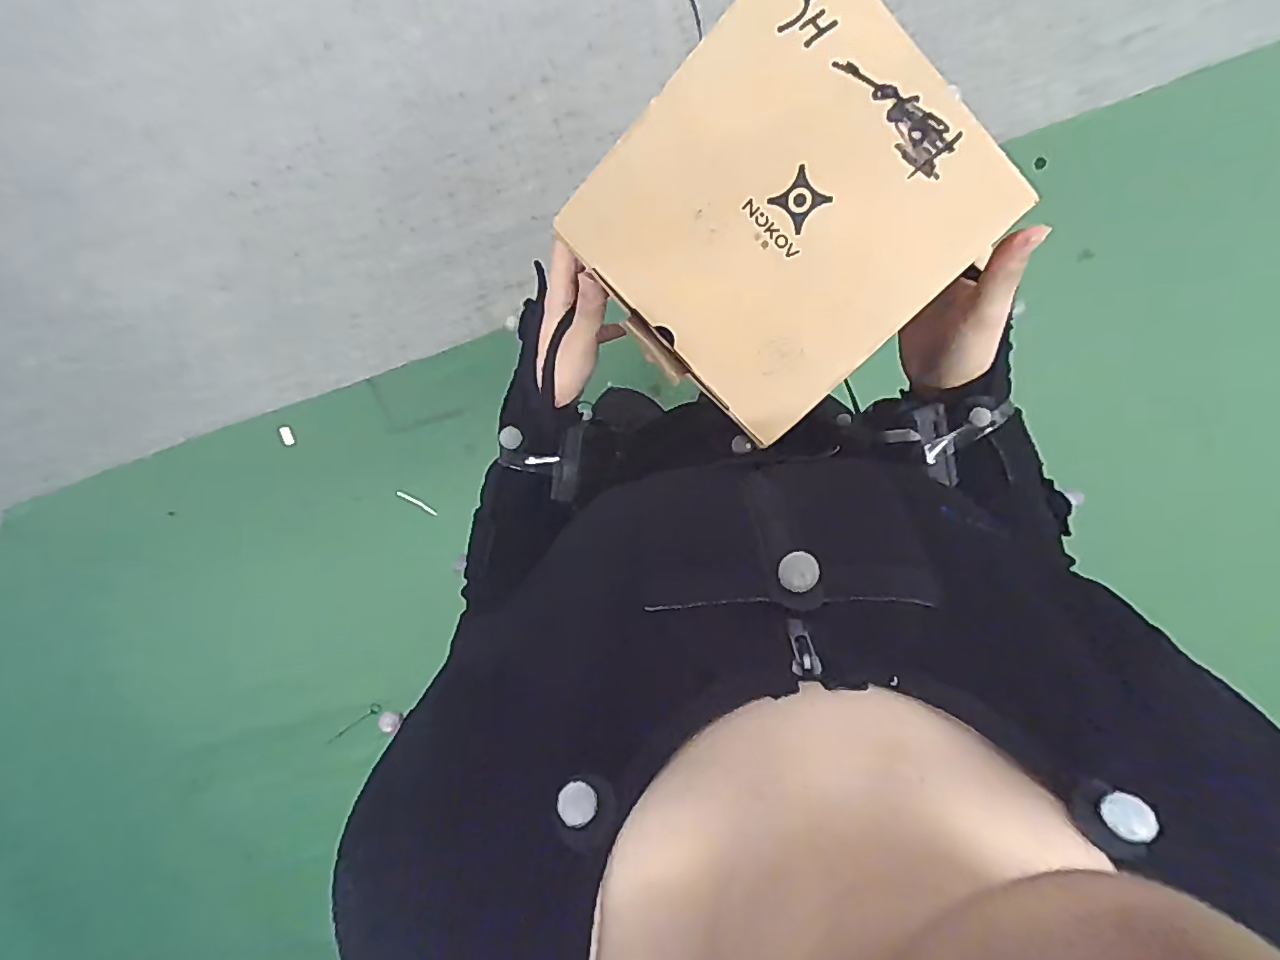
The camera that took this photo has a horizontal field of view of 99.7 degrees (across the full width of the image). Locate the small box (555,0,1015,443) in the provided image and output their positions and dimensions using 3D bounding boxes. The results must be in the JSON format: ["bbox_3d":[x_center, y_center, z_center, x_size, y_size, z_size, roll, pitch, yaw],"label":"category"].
[{"bbox_3d":[0.078,-0.152,0.354,0.168,0.176,0.179,44,105,-6],"label":"small box"}]
